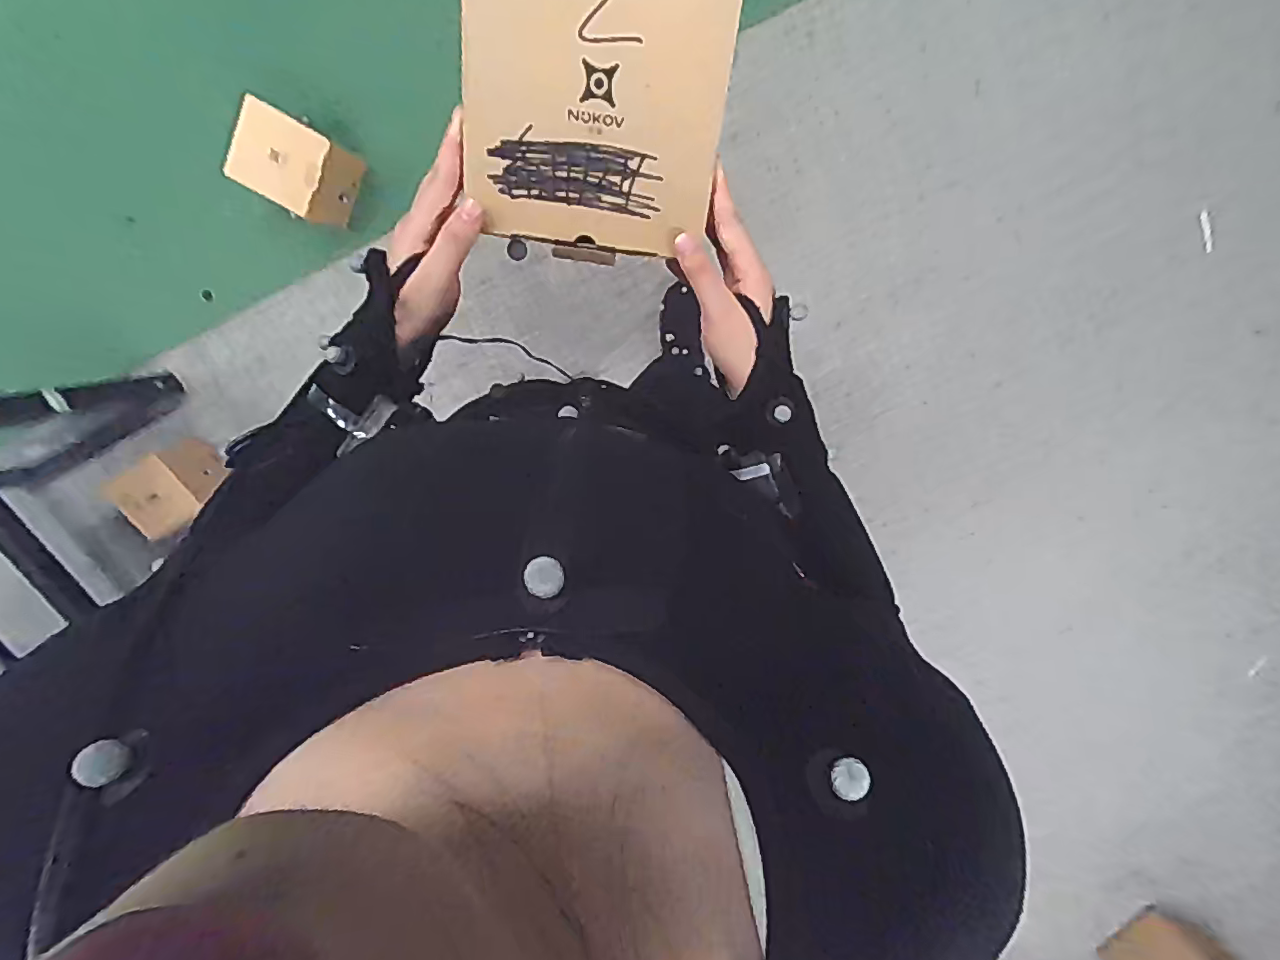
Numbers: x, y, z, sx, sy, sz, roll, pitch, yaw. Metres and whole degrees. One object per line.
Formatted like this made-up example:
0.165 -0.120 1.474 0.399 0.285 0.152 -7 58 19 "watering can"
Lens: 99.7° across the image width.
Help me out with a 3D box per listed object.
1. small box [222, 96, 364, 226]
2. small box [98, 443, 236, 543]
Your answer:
-0.746 -0.679 1.179 0.179 0.176 0.168 27 104 -11 "small box"
-1.181 0.025 1.373 0.179 0.176 0.168 -30 105 7 "small box"
